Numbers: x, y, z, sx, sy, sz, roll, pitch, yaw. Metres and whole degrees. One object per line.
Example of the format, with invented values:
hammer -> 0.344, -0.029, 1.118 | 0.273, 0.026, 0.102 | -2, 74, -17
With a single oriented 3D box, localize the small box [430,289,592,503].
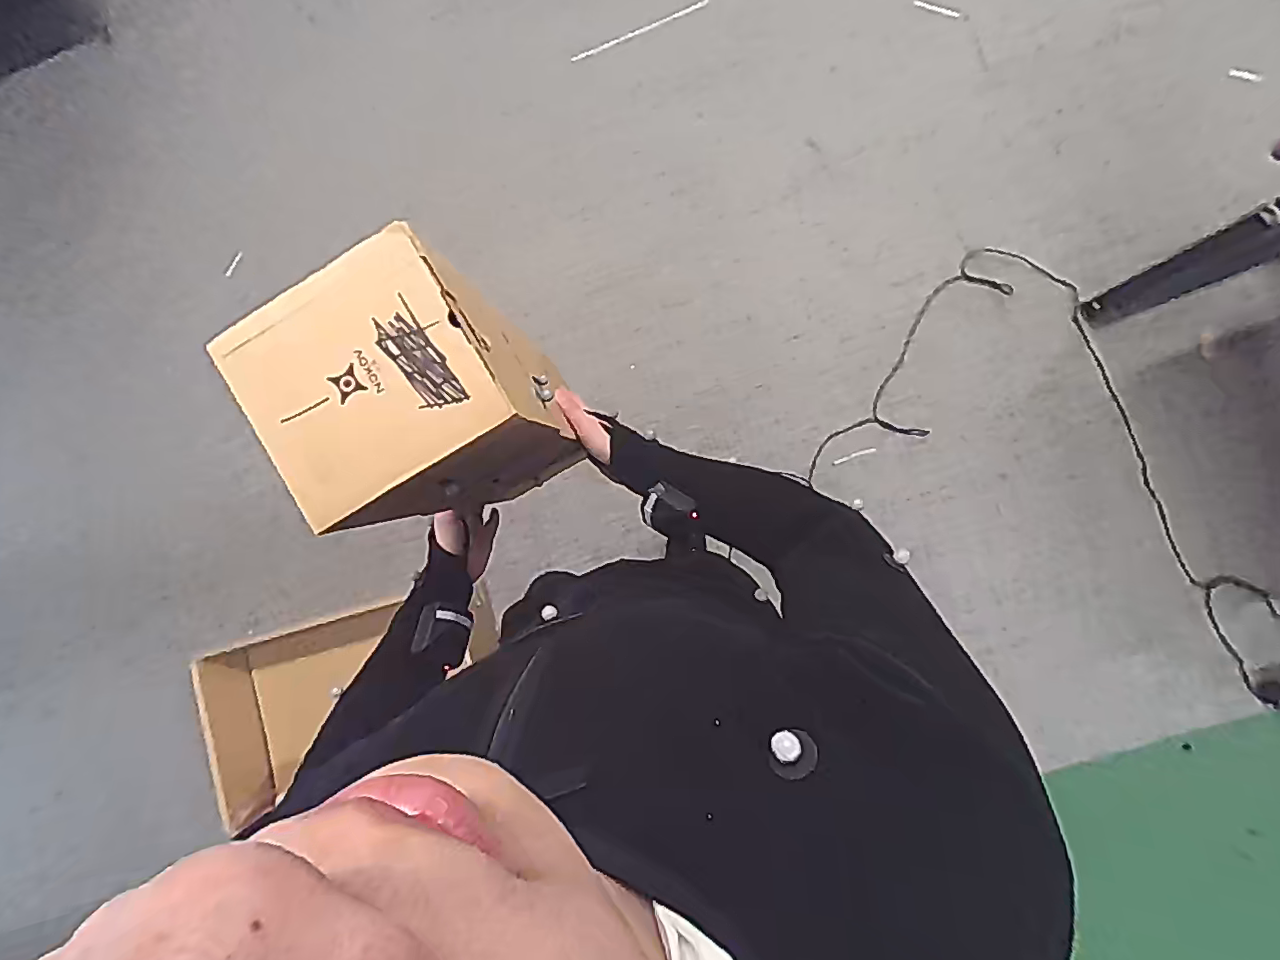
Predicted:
small box -> -0.175, -0.086, 0.632 | 0.179, 0.176, 0.168 | -28, 91, 4

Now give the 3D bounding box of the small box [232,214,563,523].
small box -> -0.180, -0.083, 0.468 | 0.179, 0.176, 0.168 | -29, 91, 3

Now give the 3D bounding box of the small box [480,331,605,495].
small box -> -0.167, -0.089, 0.795 | 0.179, 0.176, 0.168 | -27, 90, 2
